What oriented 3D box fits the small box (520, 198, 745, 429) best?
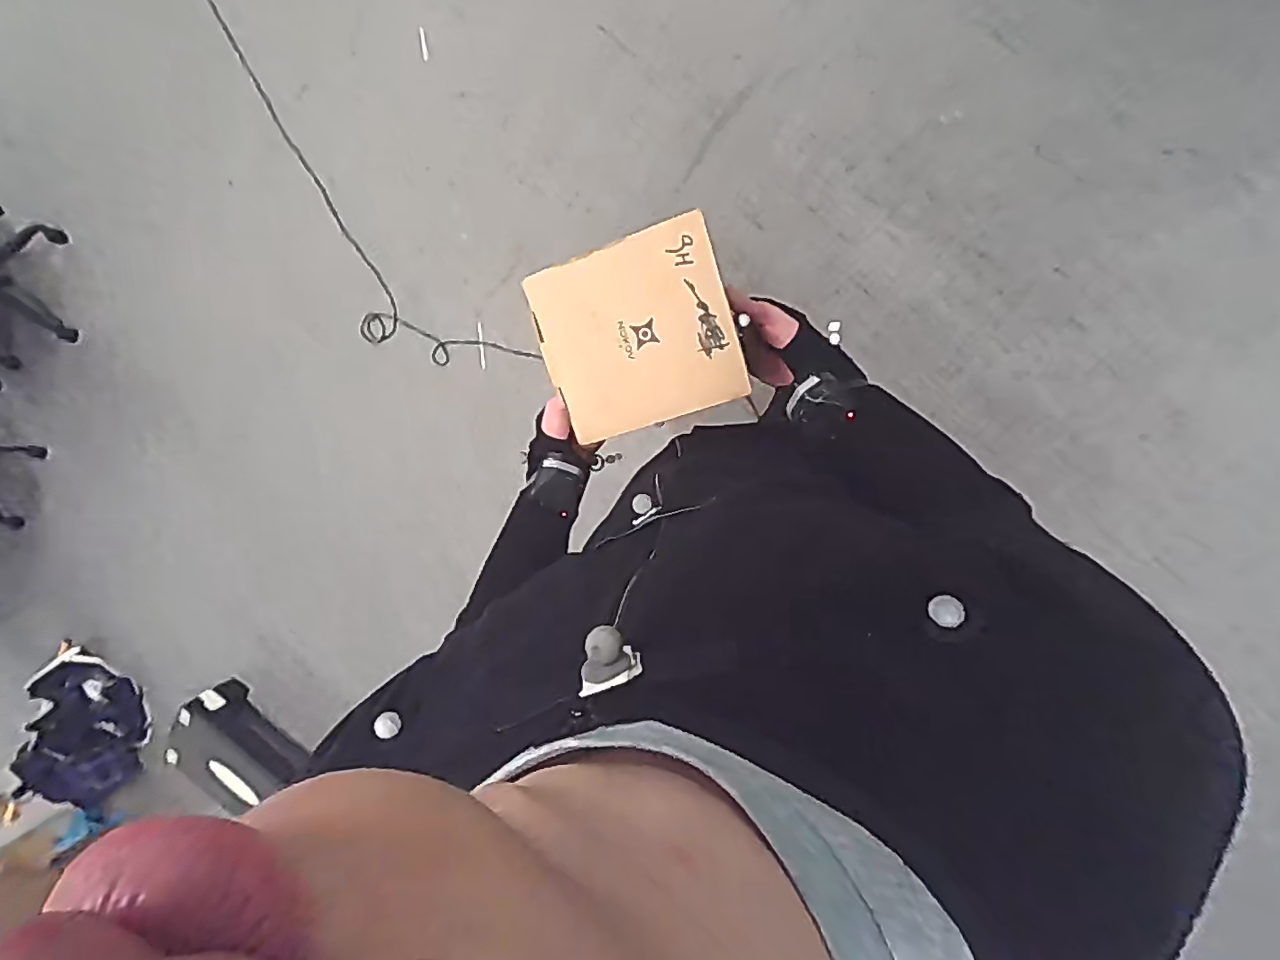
[{"bbox_3d":[0.007,-0.164,0.564,0.179,0.176,0.168,-14,104,14],"label":"small box"}]
